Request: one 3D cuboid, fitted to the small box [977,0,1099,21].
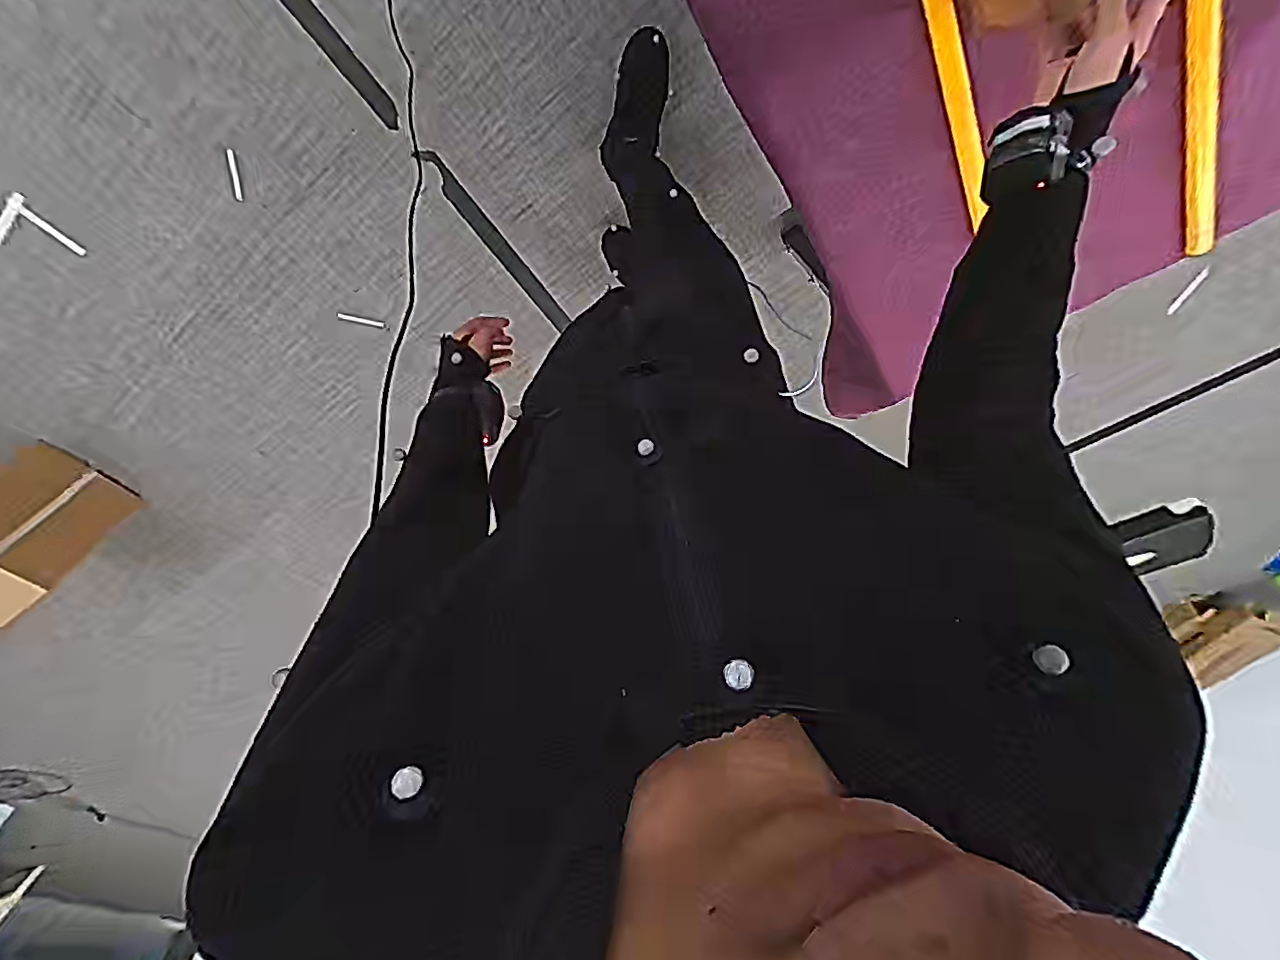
[{"bbox_3d":[0.363,-0.521,0.431,0.168,0.176,0.179,-32,124,22],"label":"small box"}]
